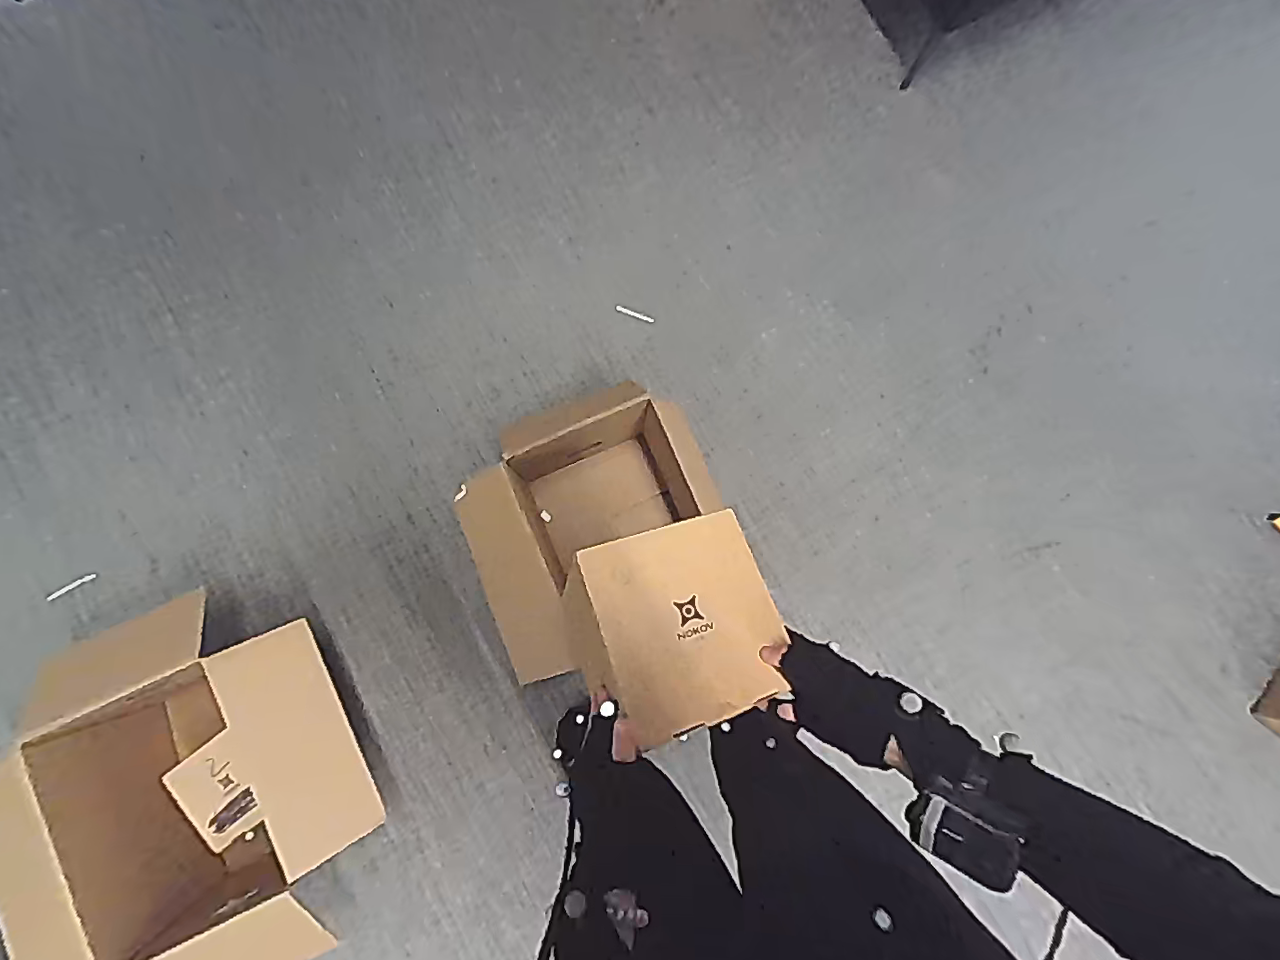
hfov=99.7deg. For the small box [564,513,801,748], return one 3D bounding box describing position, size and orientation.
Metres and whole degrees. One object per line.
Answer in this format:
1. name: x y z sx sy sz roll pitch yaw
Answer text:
1. small box: 0.026 0.159 0.557 0.168 0.176 0.179 -14 69 -19
